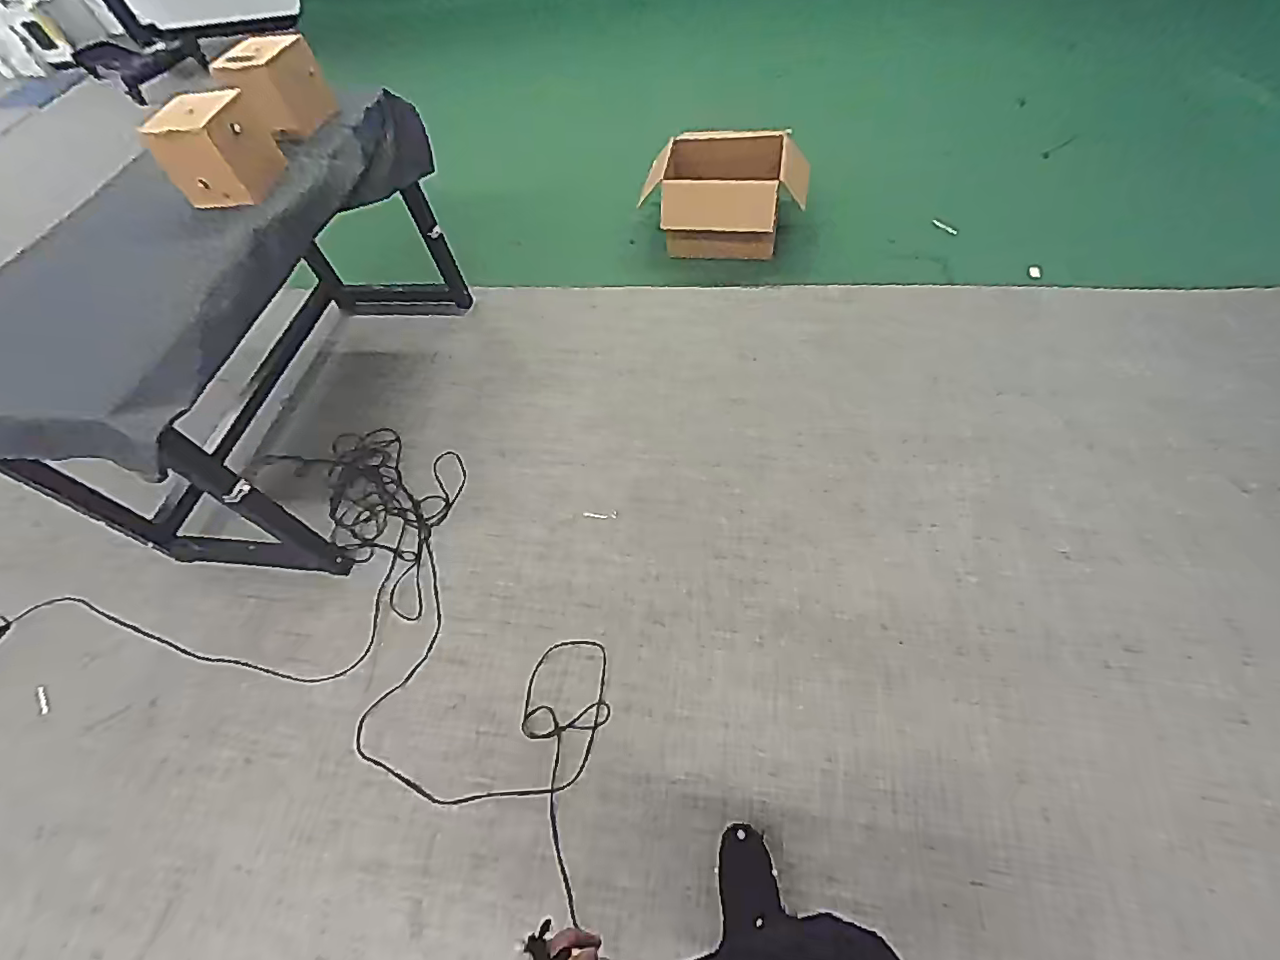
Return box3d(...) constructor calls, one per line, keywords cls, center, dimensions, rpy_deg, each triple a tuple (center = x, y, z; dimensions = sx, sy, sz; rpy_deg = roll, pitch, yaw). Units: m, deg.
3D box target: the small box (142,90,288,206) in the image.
box3d(cls="small box", center=(-0.958, -0.759, 1.242), dimensions=(0.168, 0.176, 0.179), rpy_deg=(1, 58, 9))
